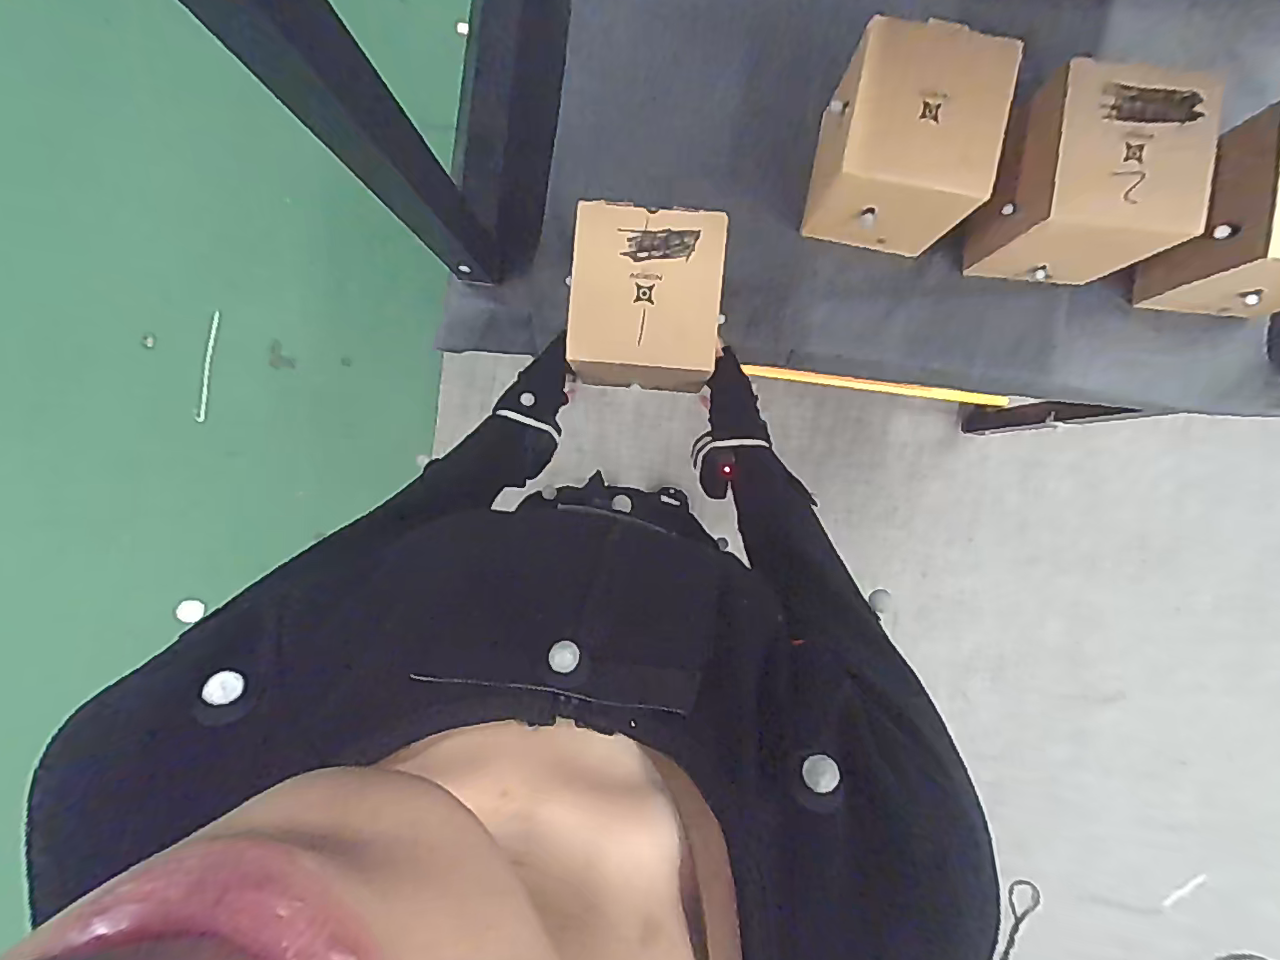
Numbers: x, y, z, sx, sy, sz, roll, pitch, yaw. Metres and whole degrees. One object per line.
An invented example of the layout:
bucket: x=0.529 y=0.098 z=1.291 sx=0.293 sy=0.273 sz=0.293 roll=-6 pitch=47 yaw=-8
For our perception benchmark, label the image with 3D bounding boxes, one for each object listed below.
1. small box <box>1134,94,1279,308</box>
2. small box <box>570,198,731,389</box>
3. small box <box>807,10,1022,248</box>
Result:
small box: x=0.757 y=-0.321 z=0.655 sx=0.168 sy=0.176 sz=0.179 roll=6 pitch=91 yaw=1
small box: x=0.011 y=-0.217 z=0.672 sx=0.168 sy=0.176 sz=0.179 roll=5 pitch=92 yaw=1
small box: x=0.318 y=-0.412 z=0.666 sx=0.168 sy=0.176 sz=0.179 roll=11 pitch=91 yaw=1
